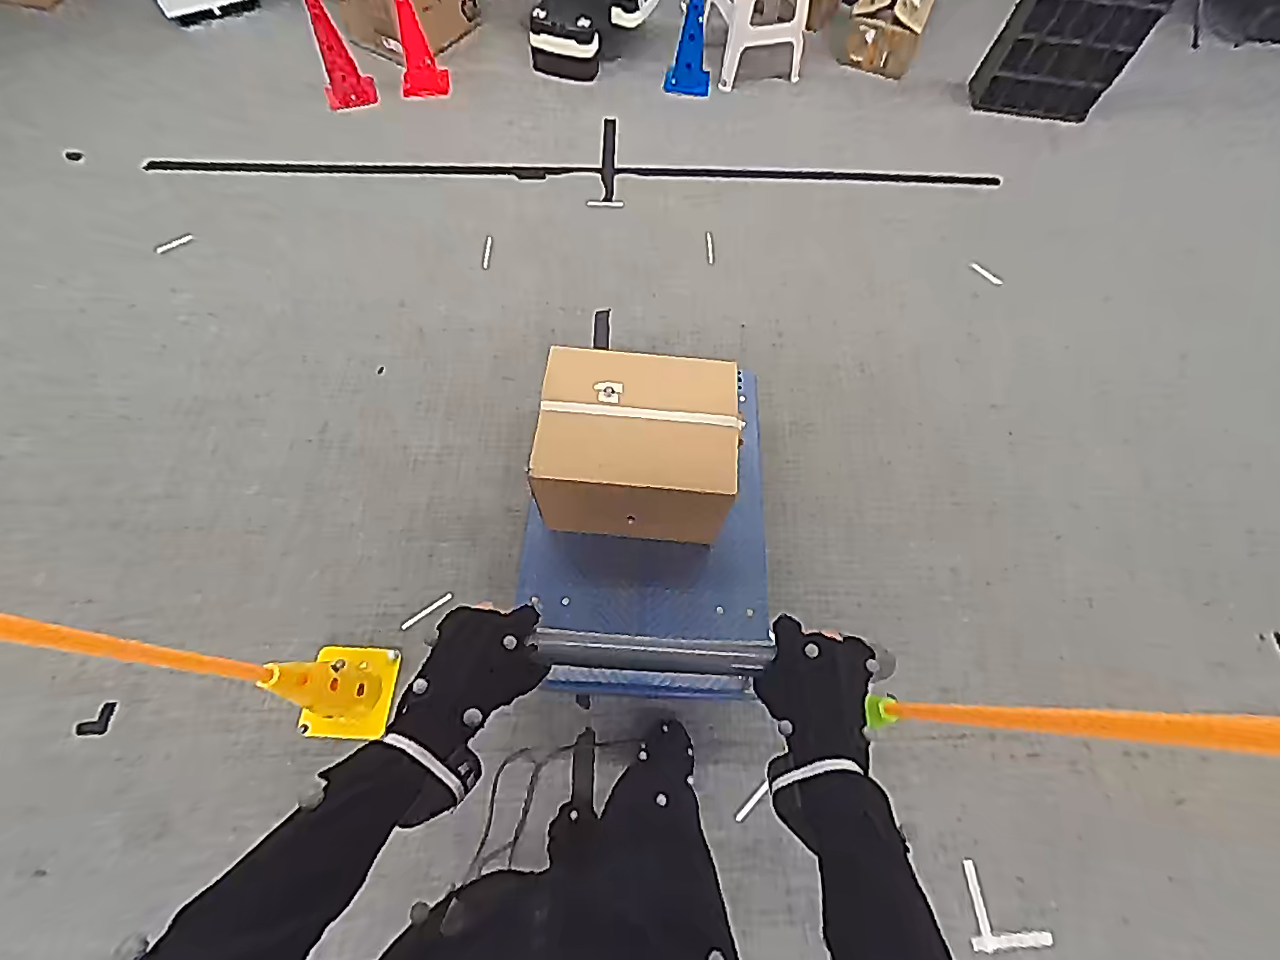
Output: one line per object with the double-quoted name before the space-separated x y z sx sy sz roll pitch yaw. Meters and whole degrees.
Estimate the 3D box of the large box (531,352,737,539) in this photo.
"large box" -0.003 -0.063 1.235 0.408 0.320 0.320 5 65 1

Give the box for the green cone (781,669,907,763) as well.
"green cone" 0.453 0.493 1.148 0.202 0.368 0.200 5 64 -1
